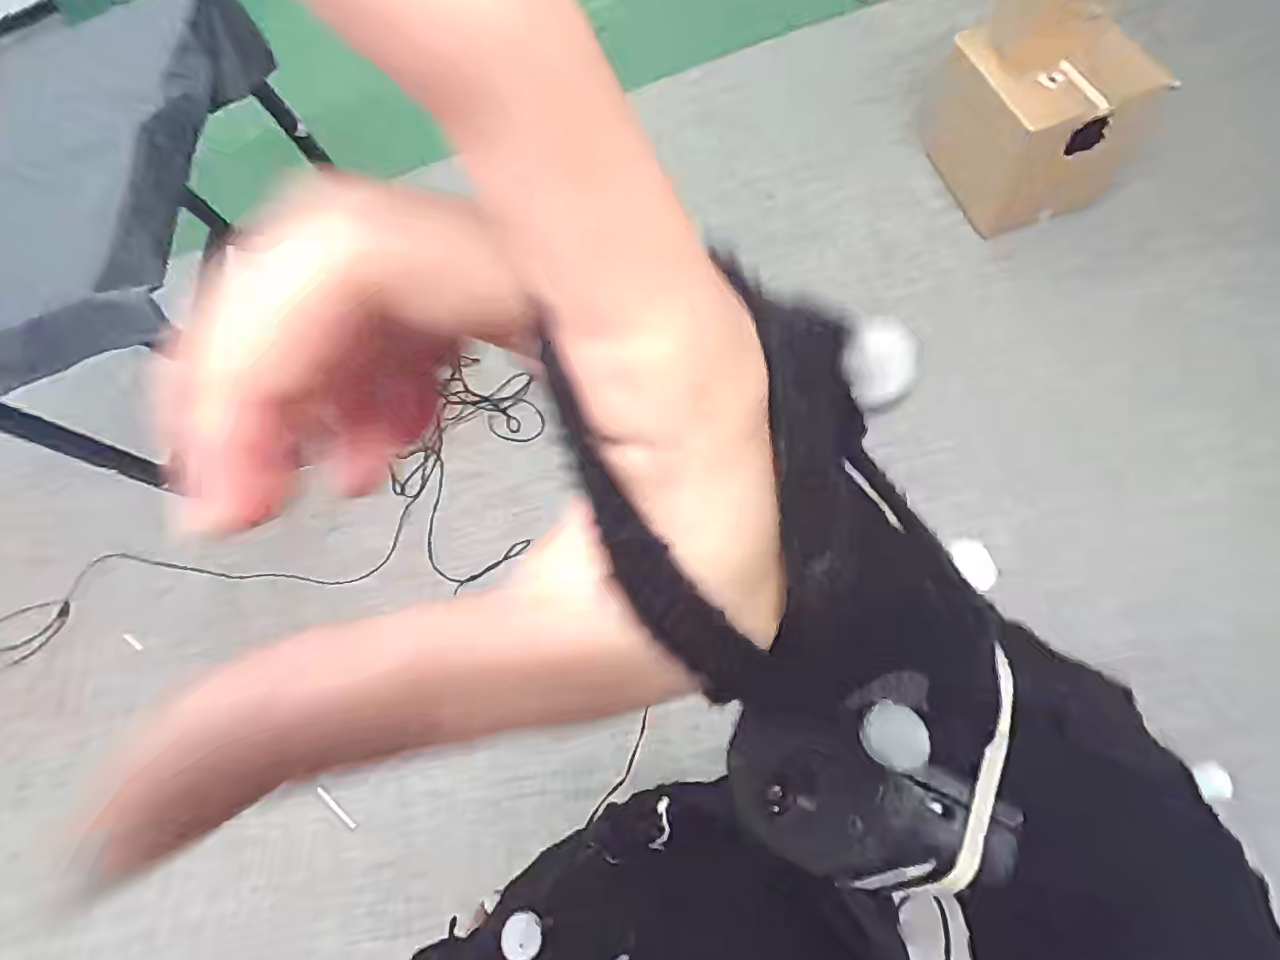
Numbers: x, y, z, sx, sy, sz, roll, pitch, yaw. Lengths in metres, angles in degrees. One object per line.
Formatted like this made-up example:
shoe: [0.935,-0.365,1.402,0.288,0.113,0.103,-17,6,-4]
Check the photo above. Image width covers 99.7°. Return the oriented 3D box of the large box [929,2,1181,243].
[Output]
large box: [1.024,-0.914,1.408,0.320,0.320,0.408,-16,66,8]
